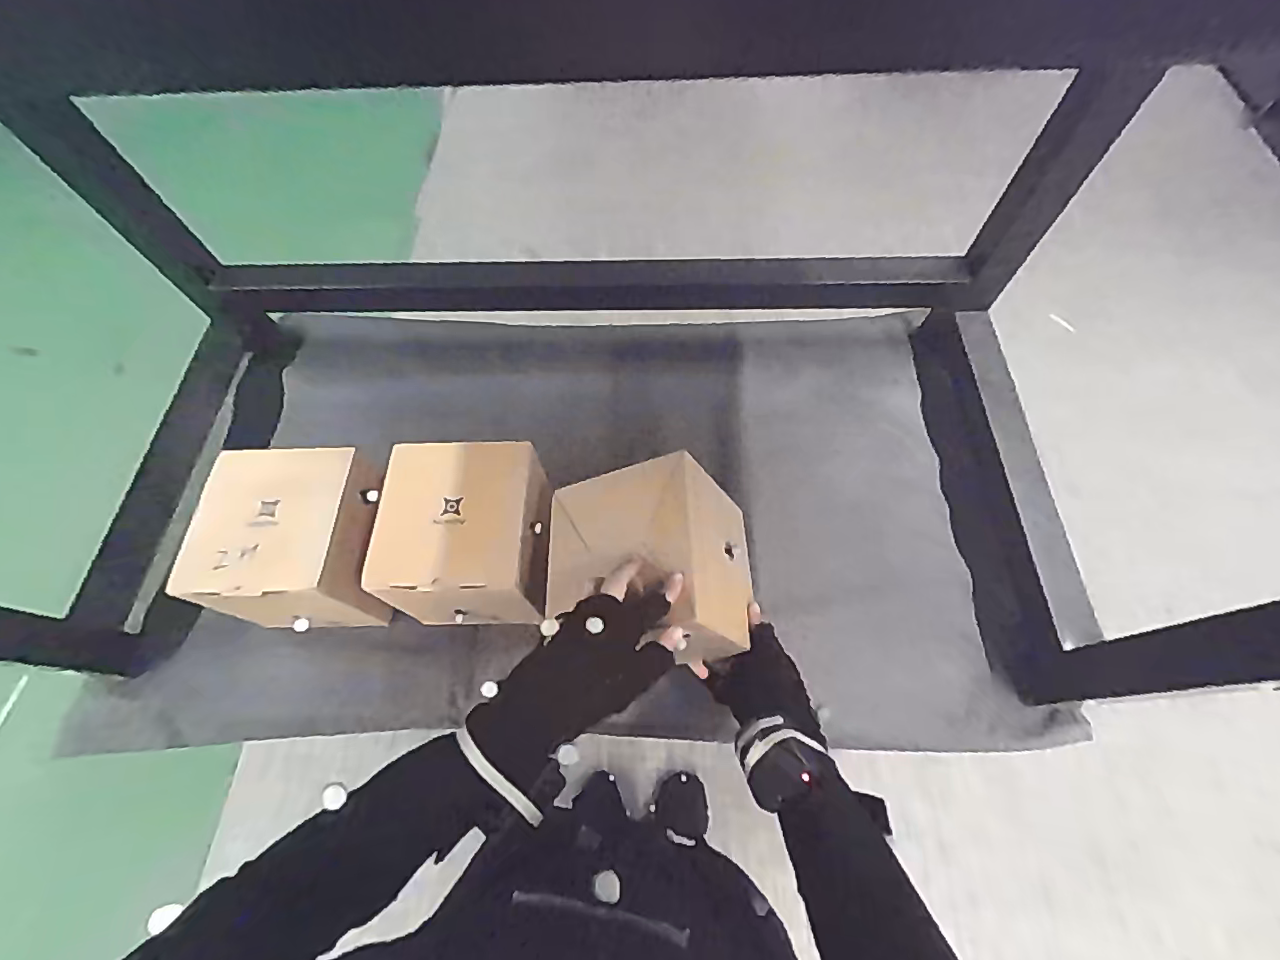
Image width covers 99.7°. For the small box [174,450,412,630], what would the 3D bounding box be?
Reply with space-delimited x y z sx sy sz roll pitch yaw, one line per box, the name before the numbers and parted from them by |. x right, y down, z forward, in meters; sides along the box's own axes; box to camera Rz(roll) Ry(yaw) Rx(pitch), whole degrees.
small box | -0.406 0.080 0.674 0.168 0.176 0.179 -1 63 2

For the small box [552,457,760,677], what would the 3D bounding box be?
small box | 0.016 0.104 0.597 0.168 0.176 0.179 -18 56 24
